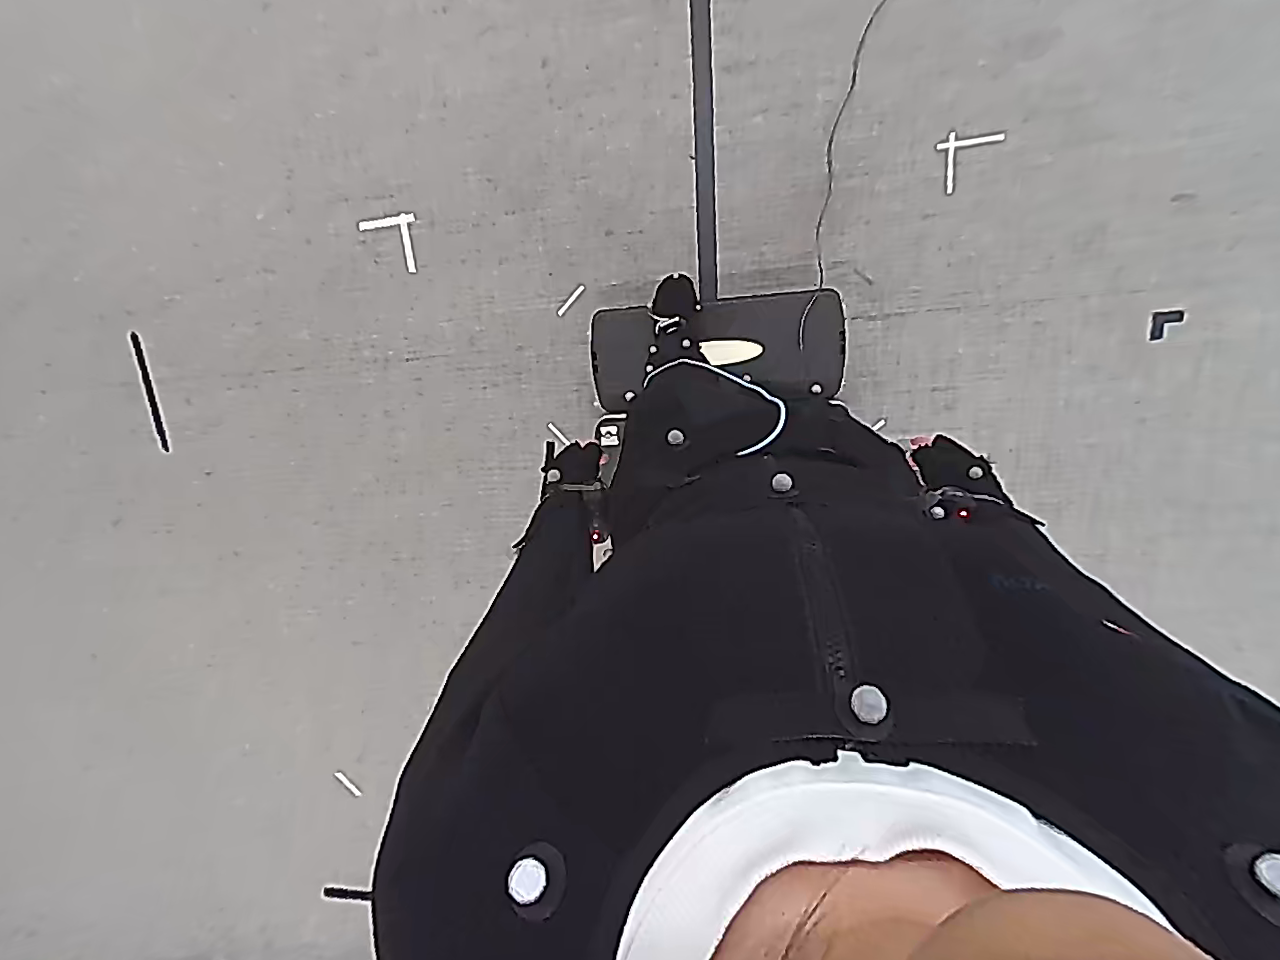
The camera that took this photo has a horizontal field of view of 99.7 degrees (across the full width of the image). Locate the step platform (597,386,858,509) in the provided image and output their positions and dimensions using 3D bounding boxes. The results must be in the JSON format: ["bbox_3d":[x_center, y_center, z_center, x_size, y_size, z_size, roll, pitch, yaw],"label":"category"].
[{"bbox_3d":[0.227,-0.085,1.472,0.684,0.204,0.286,-3,102,10],"label":"step platform"}]
